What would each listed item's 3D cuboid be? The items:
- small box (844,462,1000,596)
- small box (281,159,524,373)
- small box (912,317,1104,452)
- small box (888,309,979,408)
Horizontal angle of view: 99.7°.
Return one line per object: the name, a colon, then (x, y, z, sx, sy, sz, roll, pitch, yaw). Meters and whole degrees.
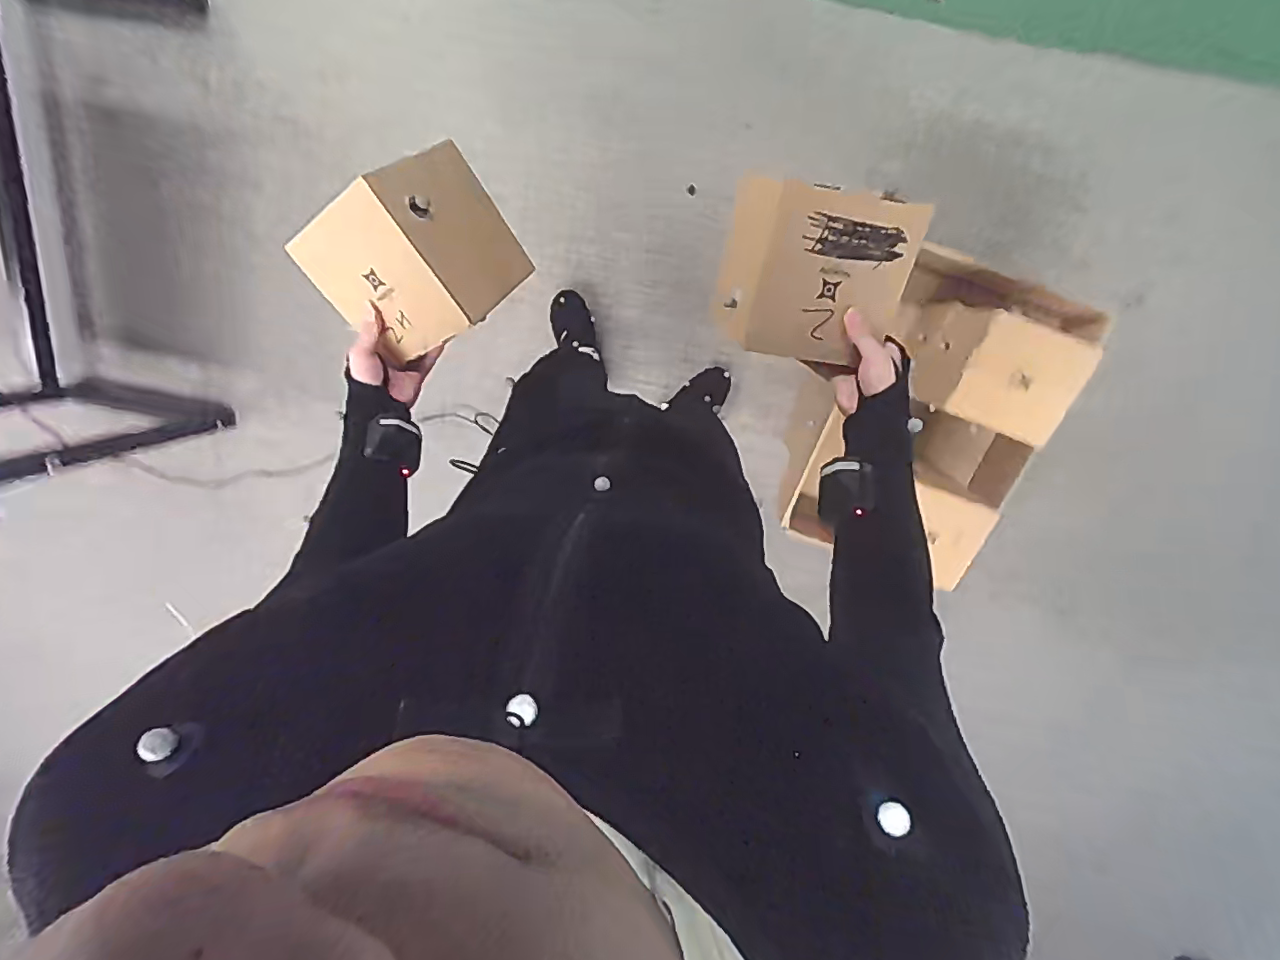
small box: (0.507, 0.081, 1.007, 0.179, 0.176, 0.168, 21, 110, -1)
small box: (-0.281, -0.269, 0.673, 0.168, 0.176, 0.179, -15, 124, 33)
small box: (0.605, -0.172, 0.919, 0.179, 0.176, 0.168, 22, 109, 1)
small box: (0.624, -0.225, 1.072, 0.168, 0.176, 0.179, 23, 109, 0)
